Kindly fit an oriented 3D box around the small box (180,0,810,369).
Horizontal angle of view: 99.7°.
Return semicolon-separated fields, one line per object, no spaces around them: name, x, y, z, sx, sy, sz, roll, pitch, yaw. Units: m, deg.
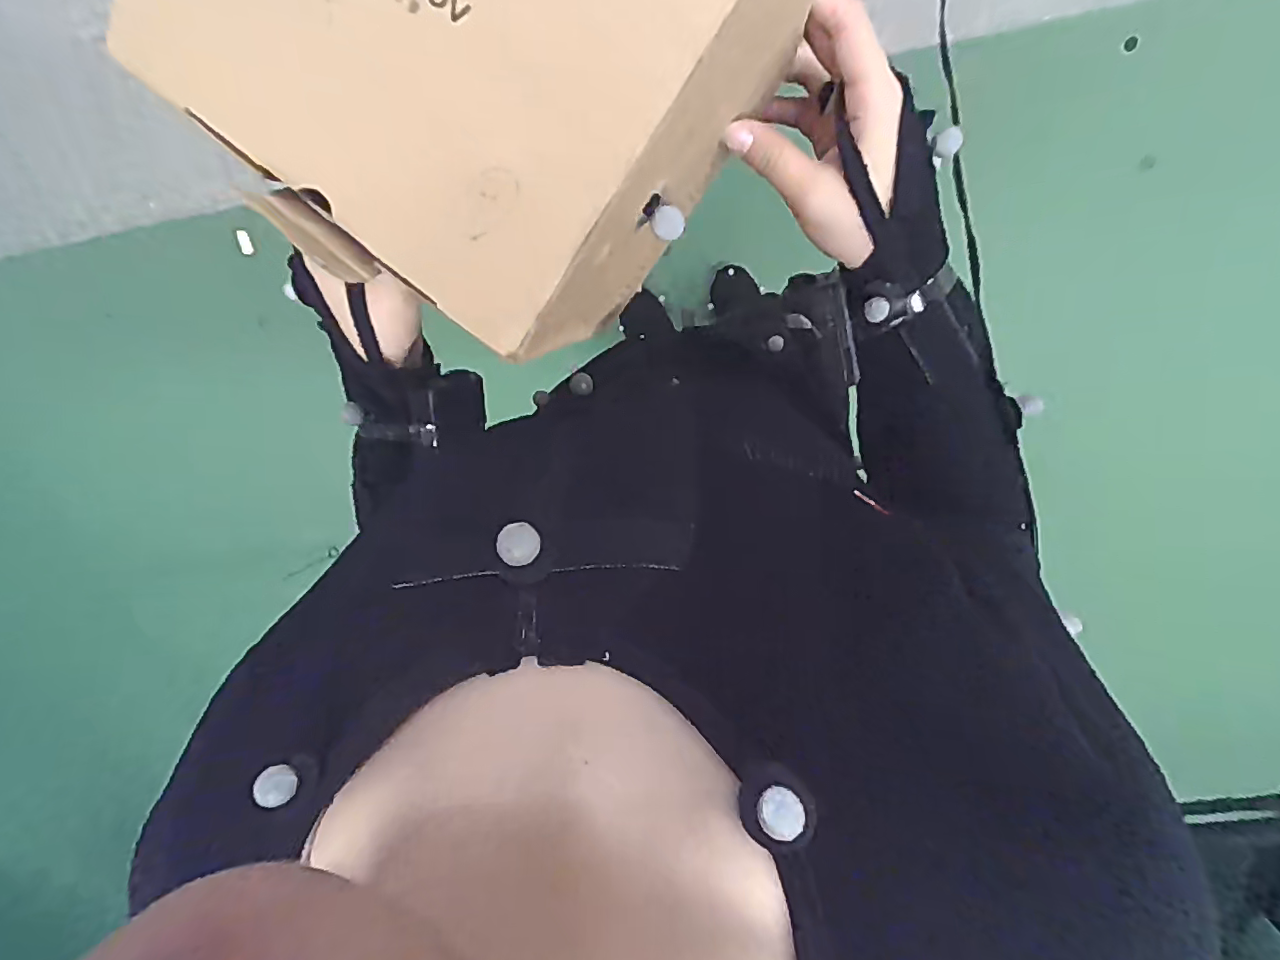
small box;-0.039;-0.177;0.246;0.168;0.176;0.179;37;110;-5
